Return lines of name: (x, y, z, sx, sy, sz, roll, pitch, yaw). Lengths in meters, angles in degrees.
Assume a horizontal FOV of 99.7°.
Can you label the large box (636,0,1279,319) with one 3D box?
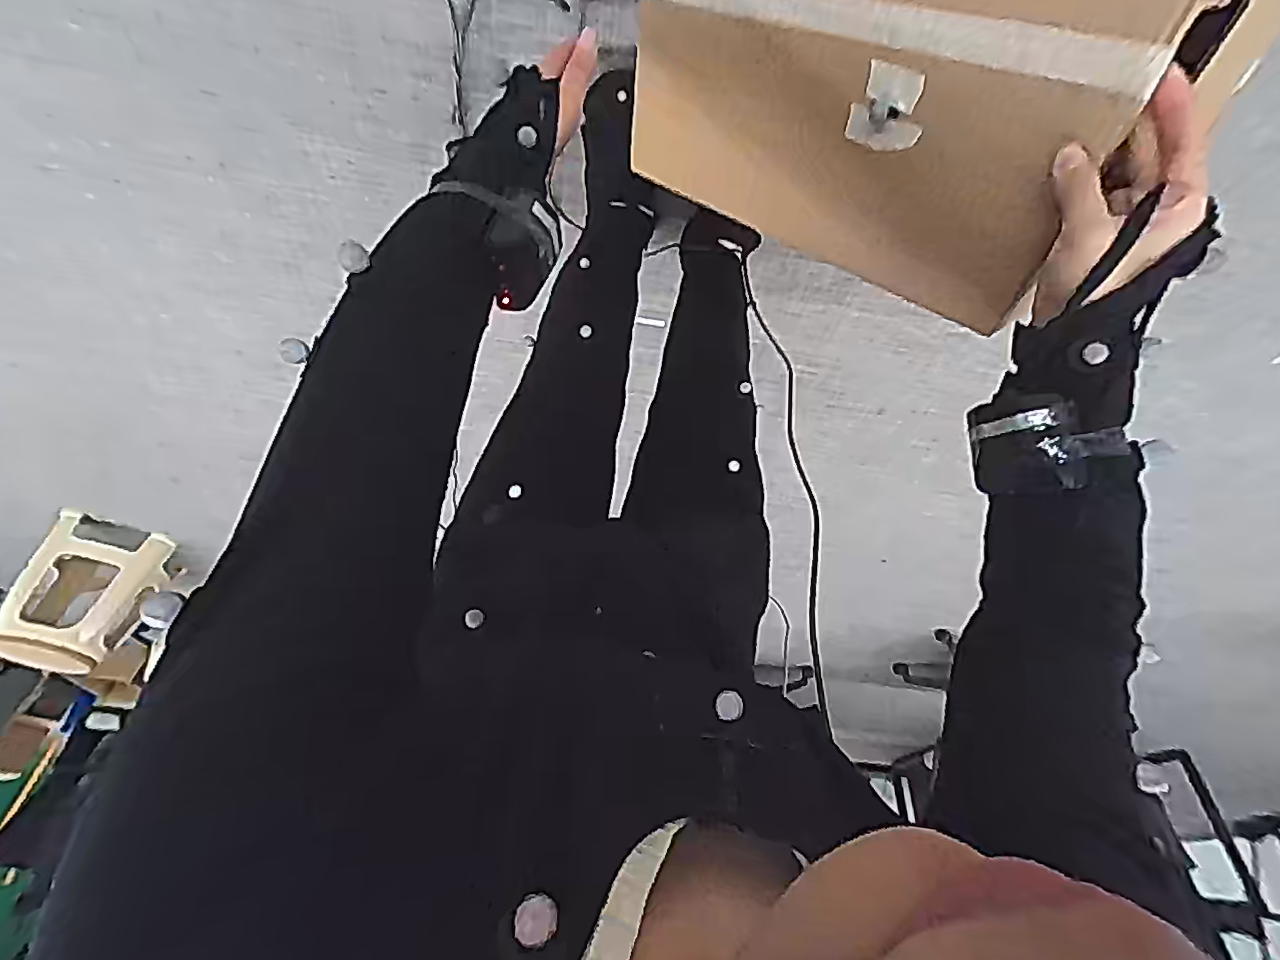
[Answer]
large box: (0.252, -0.395, 0.468, 0.320, 0.408, 0.320, -30, 146, -32)
